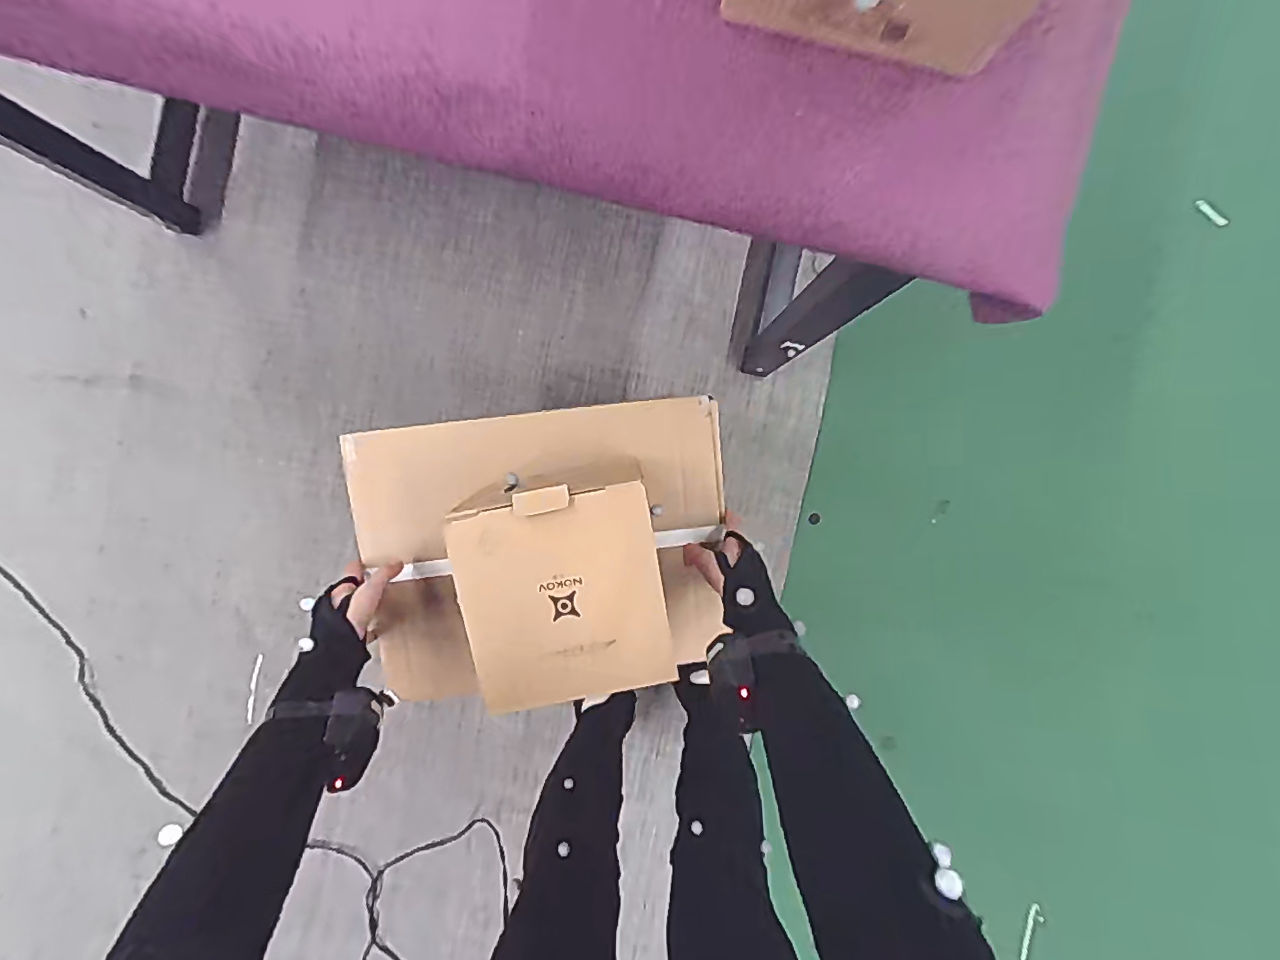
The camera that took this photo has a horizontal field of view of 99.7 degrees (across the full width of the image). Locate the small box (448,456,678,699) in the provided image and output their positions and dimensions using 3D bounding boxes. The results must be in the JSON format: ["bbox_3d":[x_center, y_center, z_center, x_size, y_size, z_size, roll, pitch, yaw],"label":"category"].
[{"bbox_3d":[-0.064,0.076,0.522,0.168,0.176,0.179,-10,100,-1],"label":"small box"}]

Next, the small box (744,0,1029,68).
[{"bbox_3d":[0.152,-0.358,0.259,0.168,0.176,0.179,13,91,0],"label":"small box"}]
